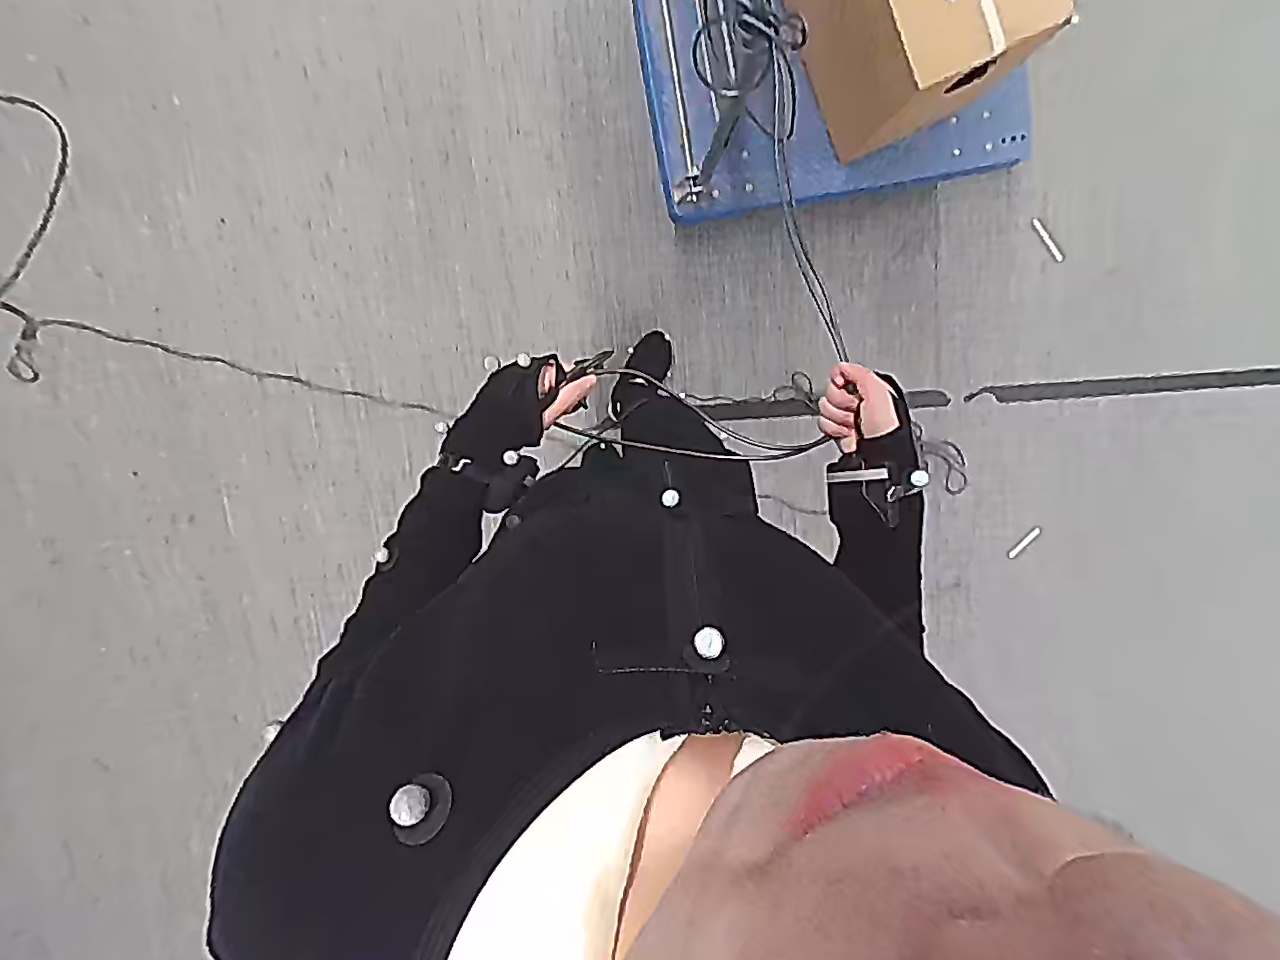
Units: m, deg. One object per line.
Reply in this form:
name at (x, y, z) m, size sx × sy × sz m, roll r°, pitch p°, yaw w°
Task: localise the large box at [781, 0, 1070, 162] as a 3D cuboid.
large box at (0.525, -0.941, 1.062) m, size 0.320 × 0.320 × 0.408 m, roll -25°, pitch 101°, yaw 0°
